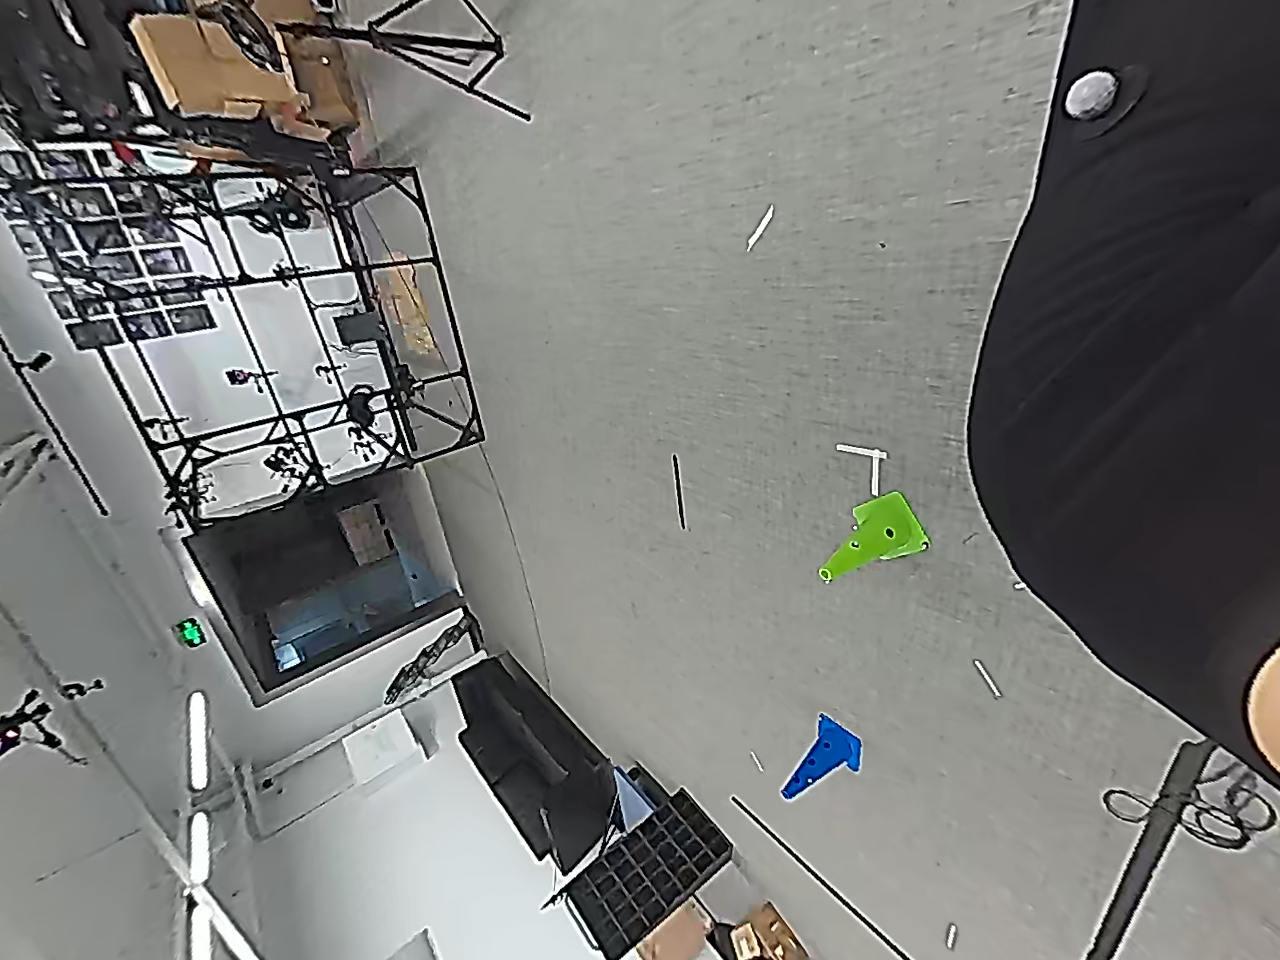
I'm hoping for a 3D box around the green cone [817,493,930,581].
[{"bbox_3d":[0.672,0.209,1.656,0.200,0.368,0.202,62,150,8],"label":"green cone"}]

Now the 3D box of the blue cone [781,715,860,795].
[{"bbox_3d":[0.727,1.178,2.238,0.192,0.380,0.193,27,131,47],"label":"blue cone"}]
